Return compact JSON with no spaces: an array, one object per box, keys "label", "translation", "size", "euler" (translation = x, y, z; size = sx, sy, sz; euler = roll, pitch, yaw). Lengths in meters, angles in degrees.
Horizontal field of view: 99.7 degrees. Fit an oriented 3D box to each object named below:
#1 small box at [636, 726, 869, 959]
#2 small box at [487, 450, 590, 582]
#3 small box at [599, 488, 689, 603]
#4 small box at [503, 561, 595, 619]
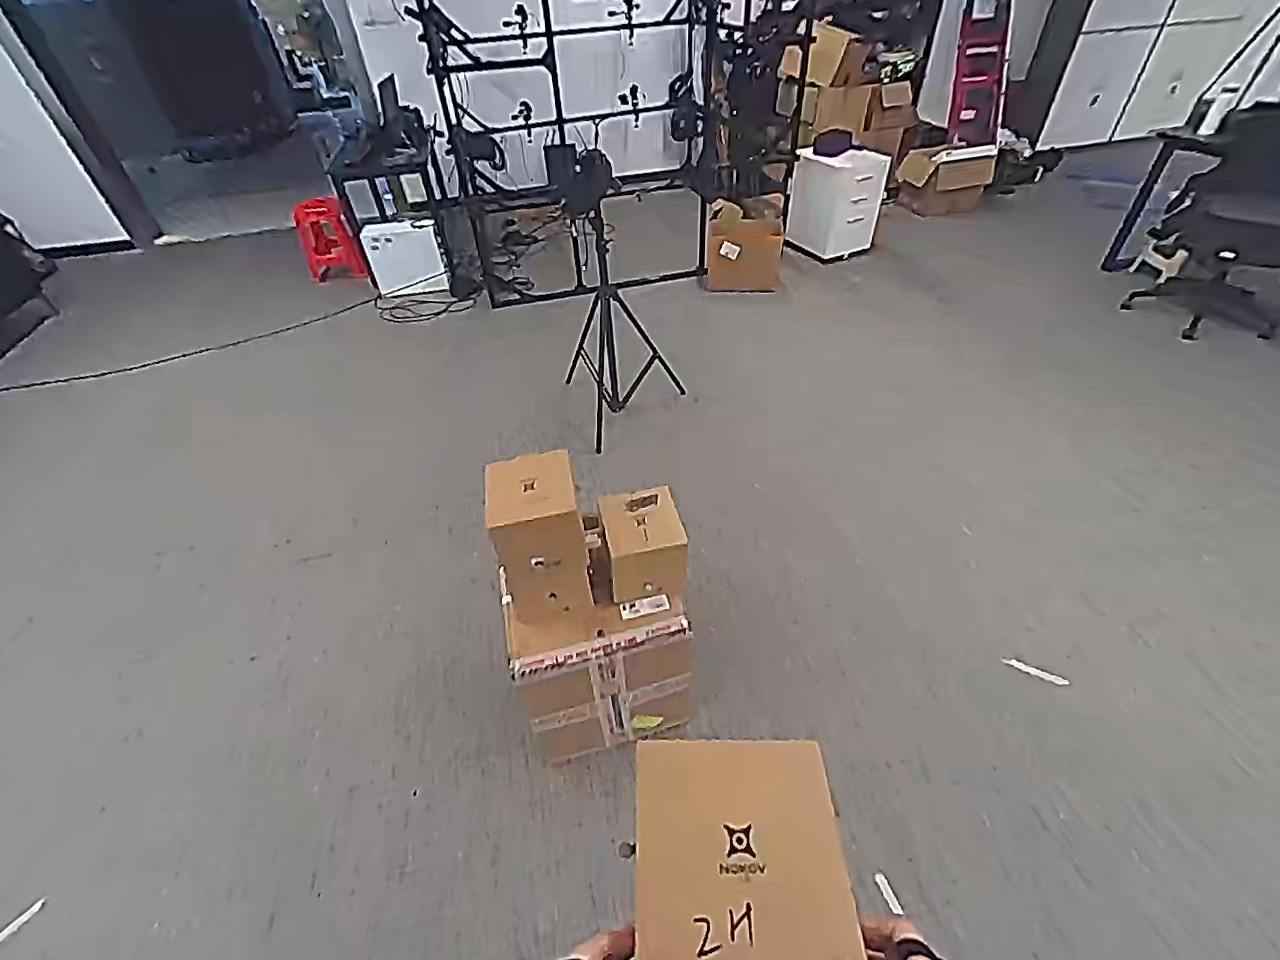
[{"label":"small box","translation":[0.080,0.344,0.486],"size":[0.168,0.176,0.179],"euler":[-1,43,1]},{"label":"small box","translation":[-0.199,0.072,1.067],"size":[0.168,0.176,0.179],"euler":[-13,46,-5]},{"label":"small box","translation":[0.004,0.147,1.212],"size":[0.168,0.176,0.179],"euler":[-10,45,-9]},{"label":"small box","translation":[-0.200,0.185,1.185],"size":[0.168,0.176,0.179],"euler":[-12,45,-6]}]
